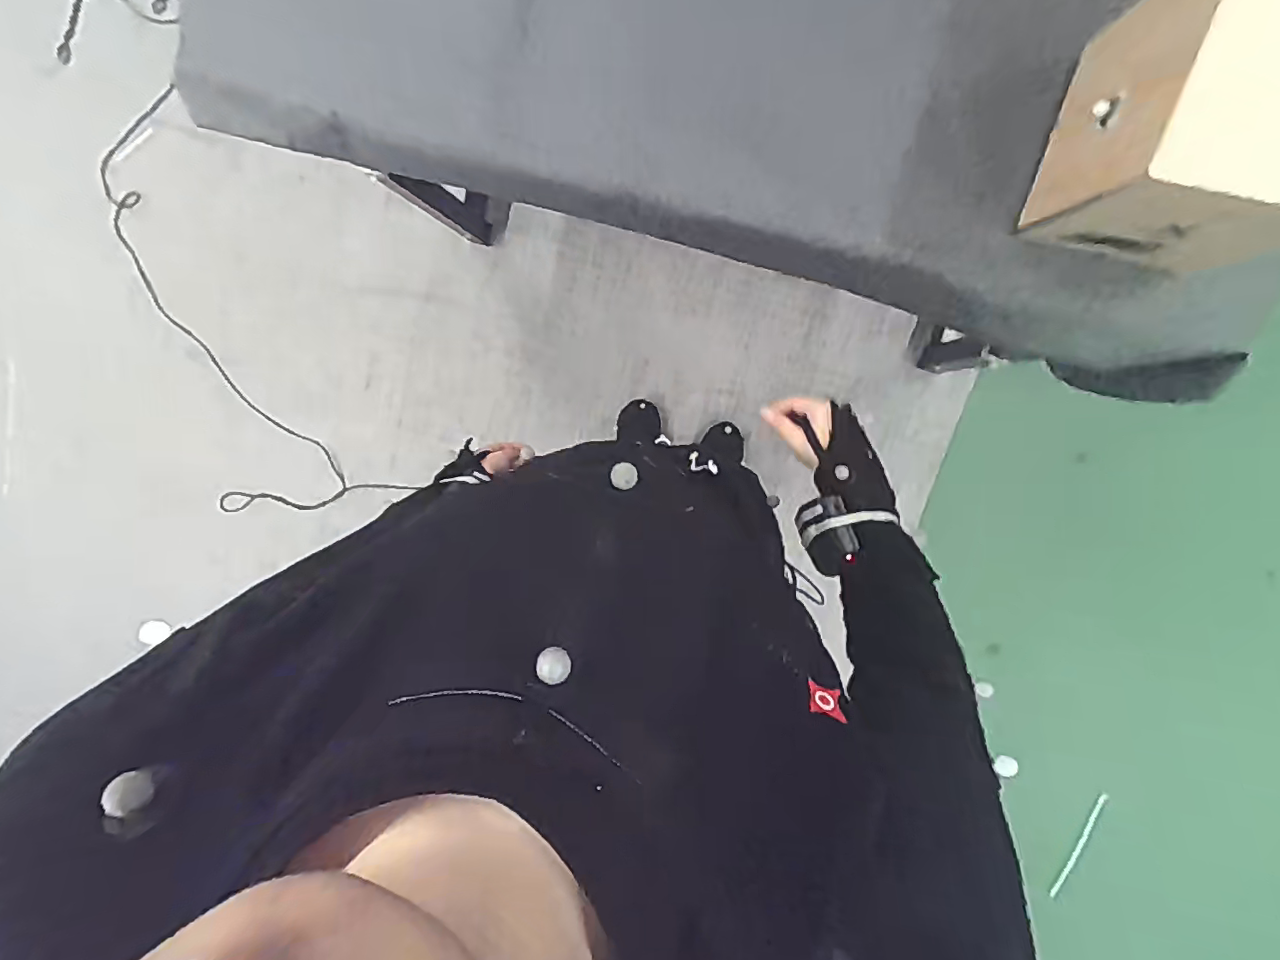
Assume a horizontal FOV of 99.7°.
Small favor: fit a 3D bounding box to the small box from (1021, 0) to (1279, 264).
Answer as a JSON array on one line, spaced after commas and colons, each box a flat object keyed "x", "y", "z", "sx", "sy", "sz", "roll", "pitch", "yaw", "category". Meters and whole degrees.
[{"x": 0.464, "y": -0.291, "z": 0.431, "sx": 0.168, "sy": 0.179, "sz": 0.176, "roll": 15, "pitch": 104, "yaw": 4, "category": "small box"}]
